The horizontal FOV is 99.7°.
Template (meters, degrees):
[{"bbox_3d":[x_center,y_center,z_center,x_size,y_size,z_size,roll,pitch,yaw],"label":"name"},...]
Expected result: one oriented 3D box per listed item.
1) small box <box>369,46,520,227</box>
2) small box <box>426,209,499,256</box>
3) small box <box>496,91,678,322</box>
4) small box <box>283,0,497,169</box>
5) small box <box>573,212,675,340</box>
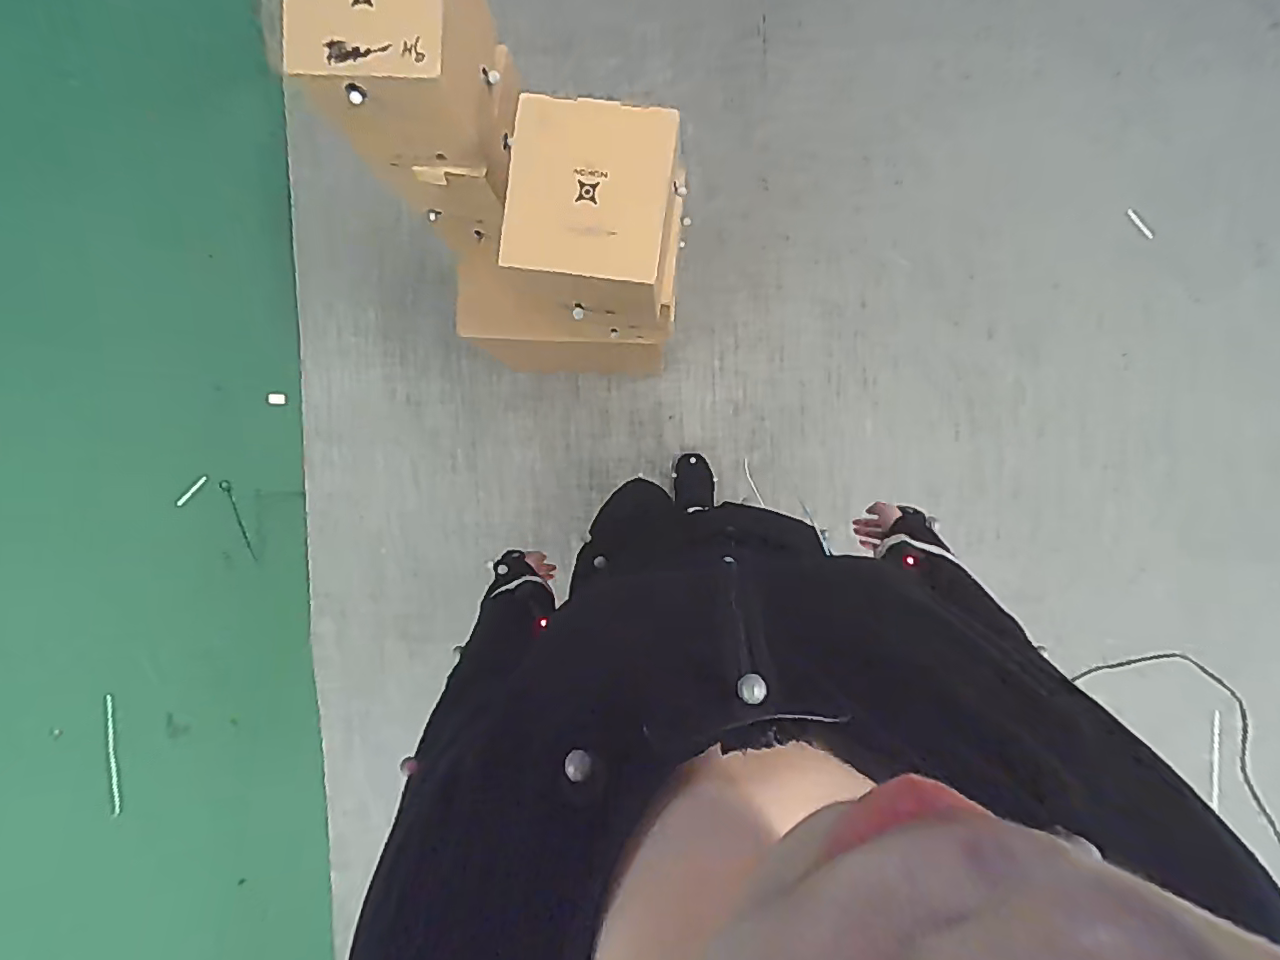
[{"bbox_3d":[-0.262,-0.497,0.792,0.168,0.176,0.179,11,91,2],"label":"small box"},{"bbox_3d":[-0.250,-0.501,0.956,0.179,0.176,0.168,9,93,1],"label":"small box"},{"bbox_3d":[-0.052,-0.300,0.627,0.168,0.176,0.179,9,93,2],"label":"small box"},{"bbox_3d":[-0.273,-0.498,0.627,0.168,0.176,0.179,4,91,3],"label":"small box"},{"bbox_3d":[-0.022,-0.348,0.951,0.168,0.176,0.179,1,92,2],"label":"small box"}]
